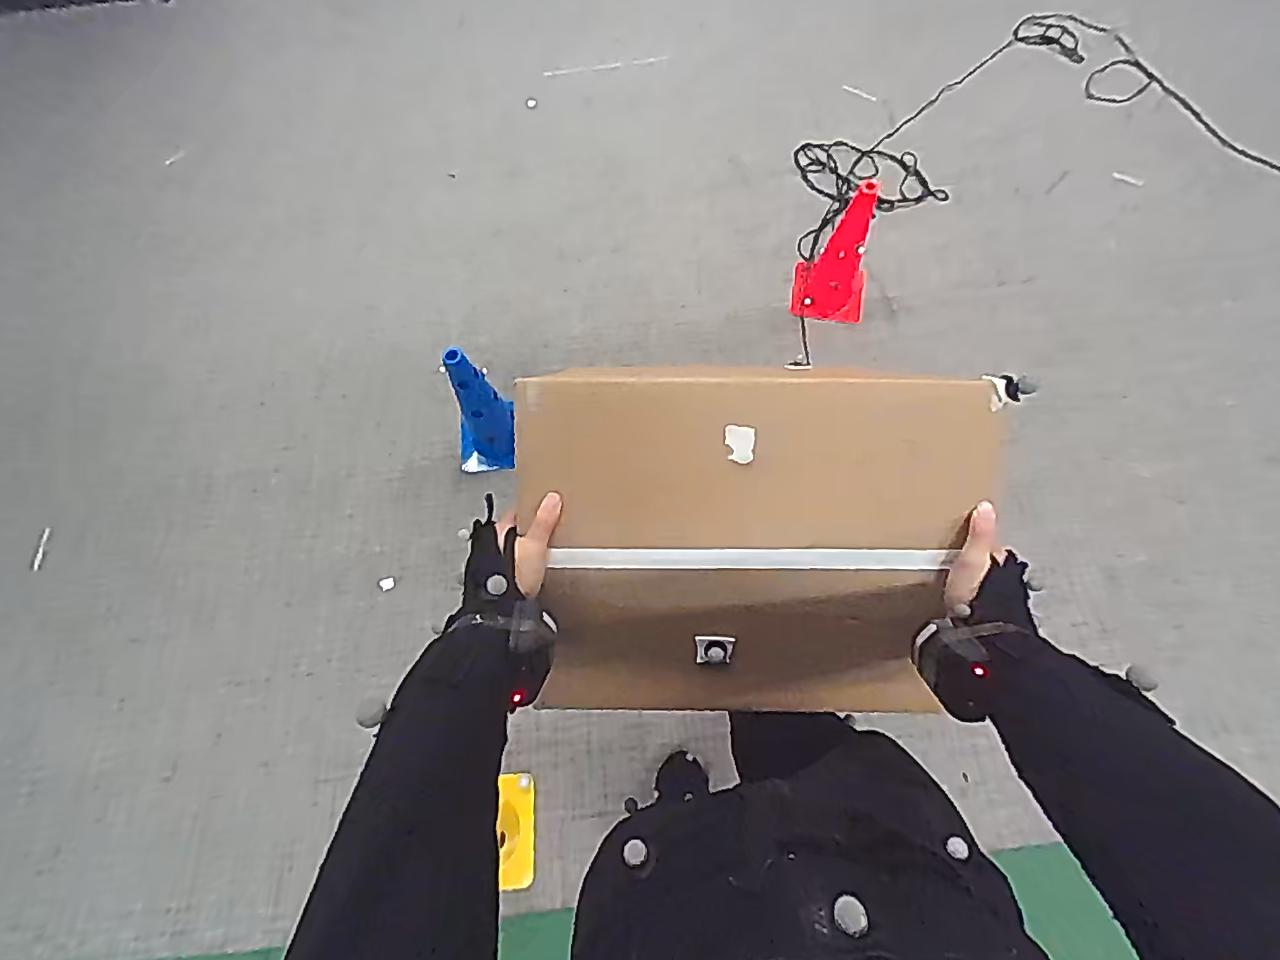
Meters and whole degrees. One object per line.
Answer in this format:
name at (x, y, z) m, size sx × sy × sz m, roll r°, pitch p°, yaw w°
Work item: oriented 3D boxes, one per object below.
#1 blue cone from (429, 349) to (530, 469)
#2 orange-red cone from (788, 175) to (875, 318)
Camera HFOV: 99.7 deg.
blue cone at (-0.397, -0.187, 1.285) m, size 0.192 × 0.380 × 0.193 m, roll -7°, pitch 67°, yaw 1°
orange-red cone at (0.529, -0.621, 1.397) m, size 0.199 × 0.360 × 0.198 m, roll 12°, pitch 70°, yaw 6°
